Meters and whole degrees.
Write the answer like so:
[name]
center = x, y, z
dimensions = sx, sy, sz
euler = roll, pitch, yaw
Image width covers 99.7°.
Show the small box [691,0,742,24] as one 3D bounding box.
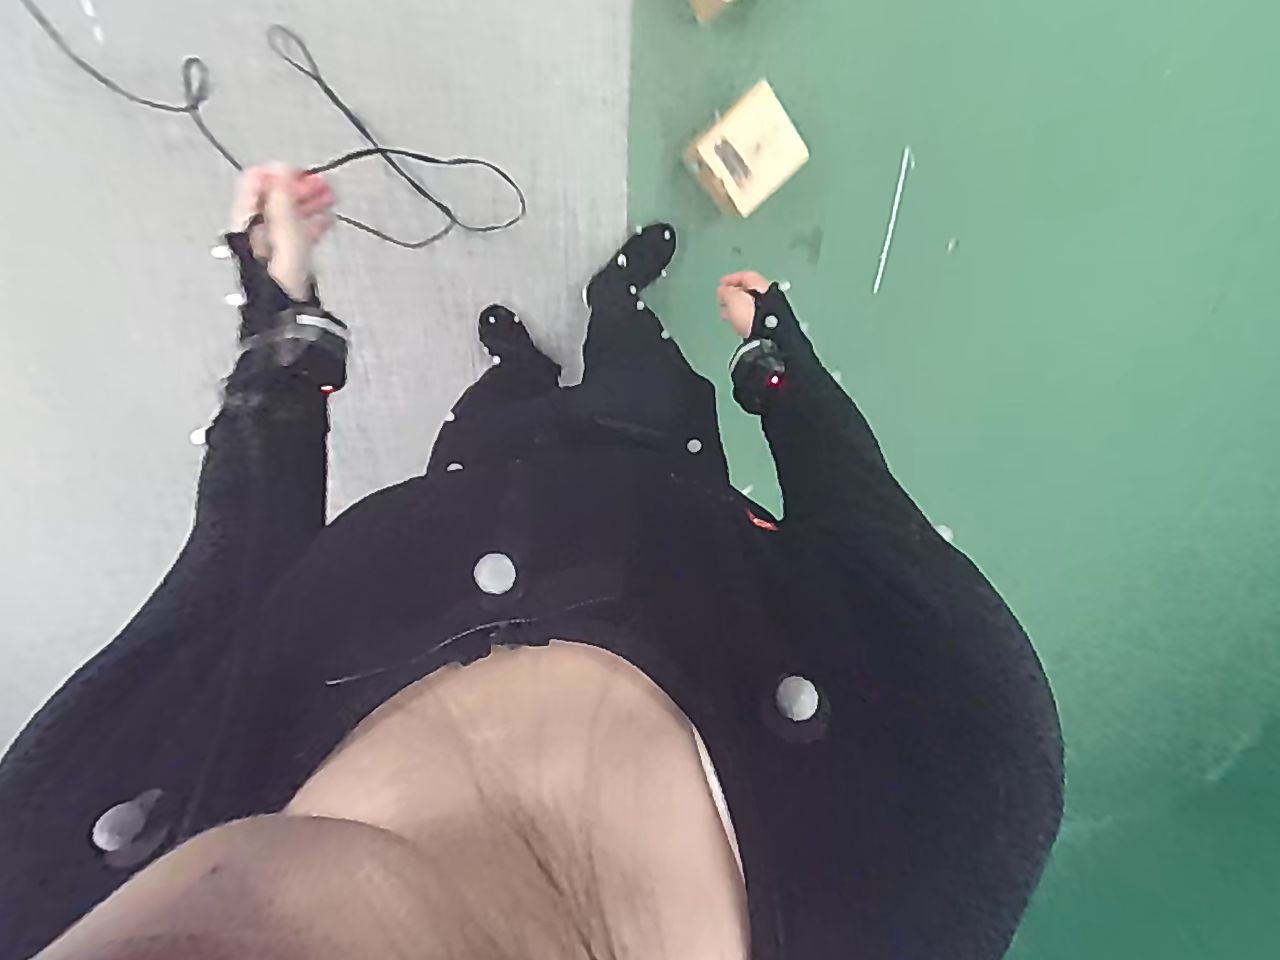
[small box]
center = 0.170, -0.994, 0.990
dimensions = 0.179, 0.176, 0.168
euler = -33, 117, 10
